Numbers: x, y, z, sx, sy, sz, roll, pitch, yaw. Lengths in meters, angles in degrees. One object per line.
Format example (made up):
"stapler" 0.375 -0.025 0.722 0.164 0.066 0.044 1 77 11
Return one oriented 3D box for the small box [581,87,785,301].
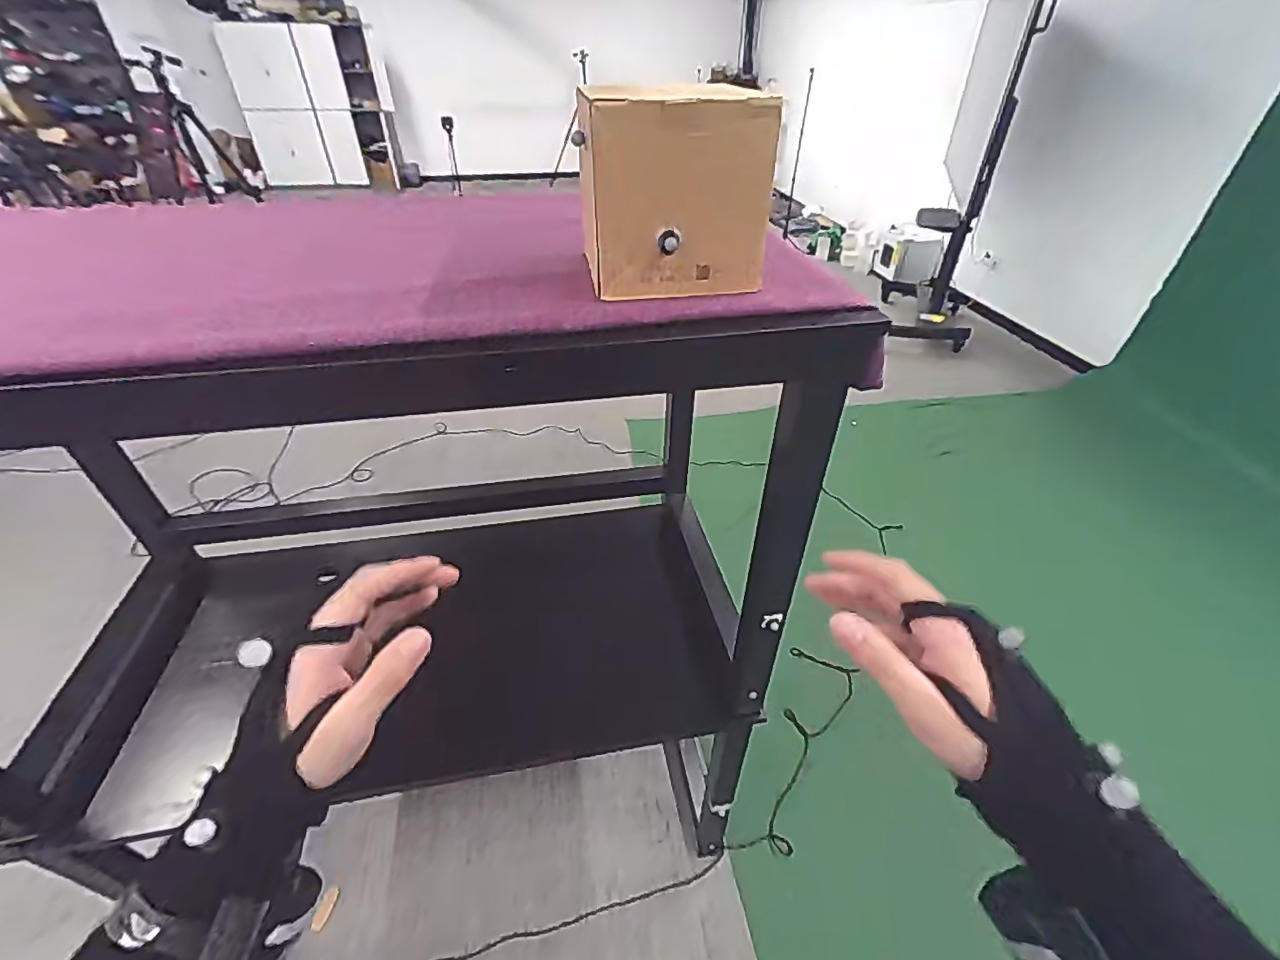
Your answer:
"small box" 0.029 -0.298 0.559 0.168 0.176 0.179 -6 40 -7
